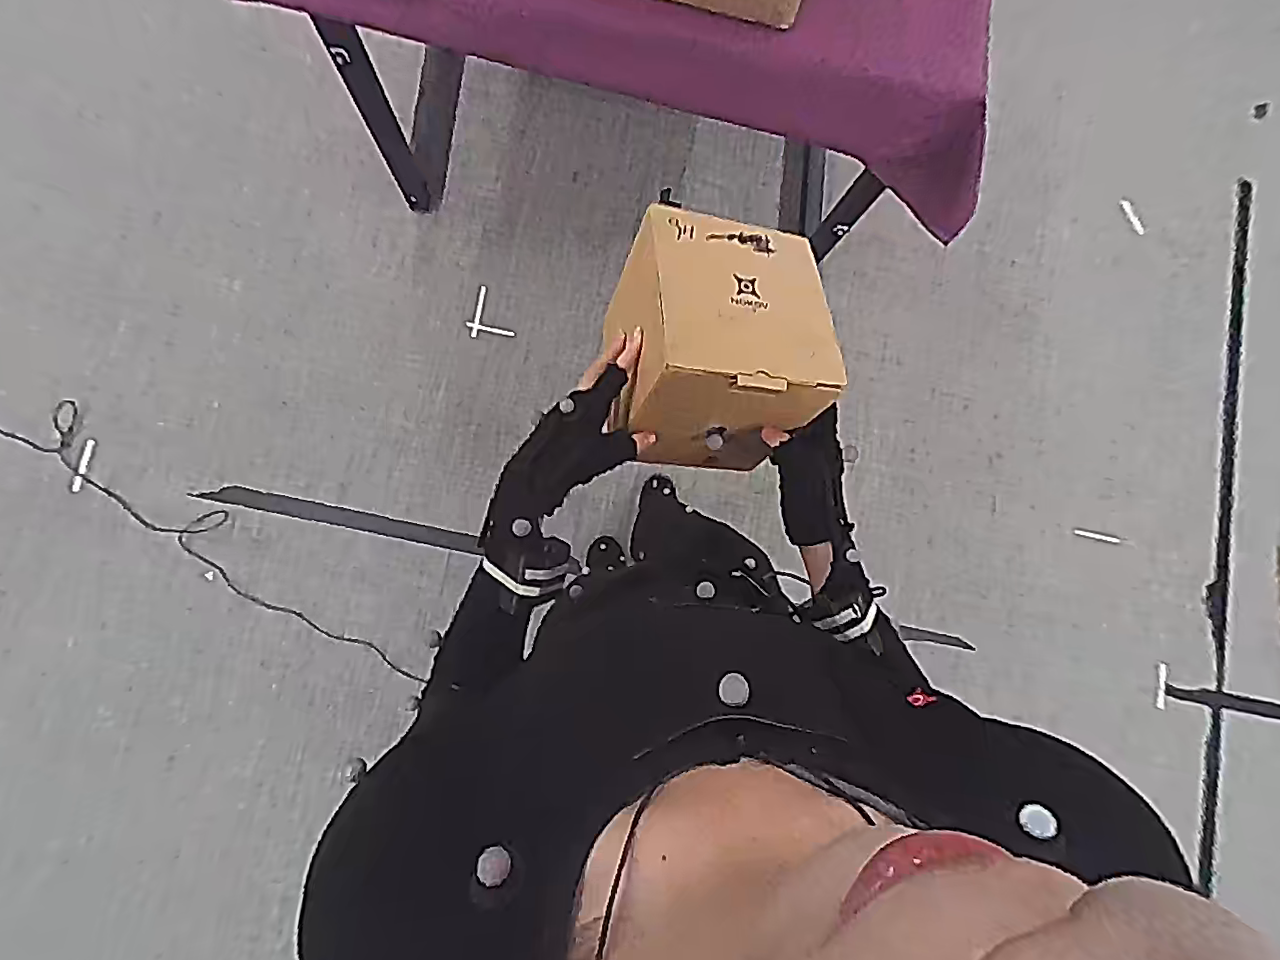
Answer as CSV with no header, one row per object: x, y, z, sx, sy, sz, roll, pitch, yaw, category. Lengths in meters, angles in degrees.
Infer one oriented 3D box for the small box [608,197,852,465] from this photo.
0.069,-0.128,0.525,0.168,0.176,0.179,4,64,-18,small box
